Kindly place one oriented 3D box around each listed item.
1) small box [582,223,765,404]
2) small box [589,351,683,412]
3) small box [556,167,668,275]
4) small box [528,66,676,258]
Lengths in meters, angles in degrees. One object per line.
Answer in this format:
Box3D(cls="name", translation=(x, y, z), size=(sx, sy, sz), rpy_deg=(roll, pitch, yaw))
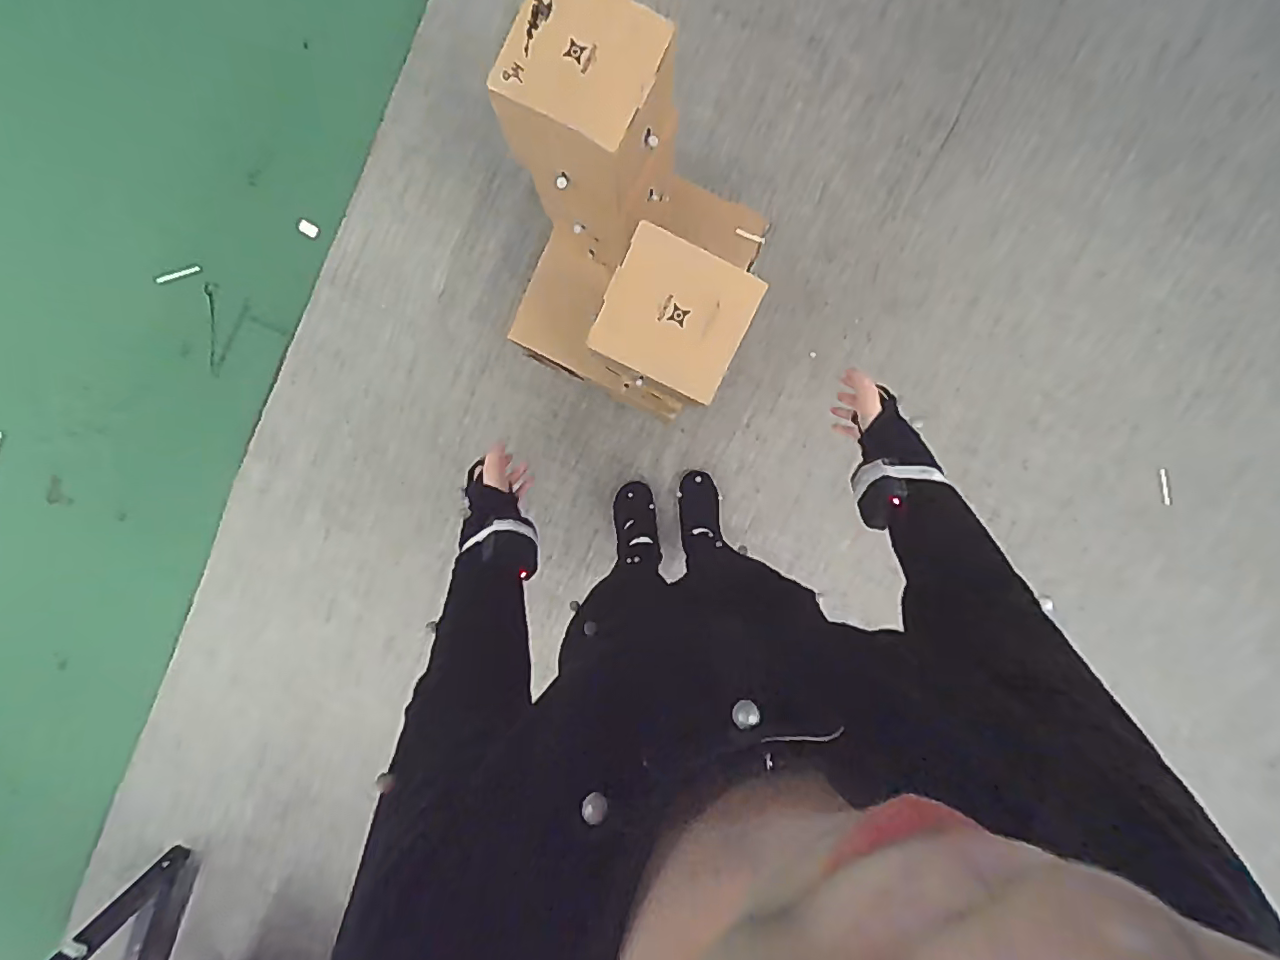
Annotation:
Box3D(cls="small box", translation=(0.039, -0.210, 0.739), size=(0.179, 0.176, 0.168), rpy_deg=(26, 96, -4))
Box3D(cls="small box", translation=(0.029, -0.228, 0.901), size=(0.168, 0.176, 0.179), rpy_deg=(29, 95, -4))
Box3D(cls="small box", translation=(-0.060, -0.525, 1.043), size=(0.168, 0.176, 0.179), rpy_deg=(26, 92, -1))
Box3D(cls="small box", translation=(-0.059, -0.500, 0.879), size=(0.168, 0.176, 0.179), rpy_deg=(28, 92, -2))
